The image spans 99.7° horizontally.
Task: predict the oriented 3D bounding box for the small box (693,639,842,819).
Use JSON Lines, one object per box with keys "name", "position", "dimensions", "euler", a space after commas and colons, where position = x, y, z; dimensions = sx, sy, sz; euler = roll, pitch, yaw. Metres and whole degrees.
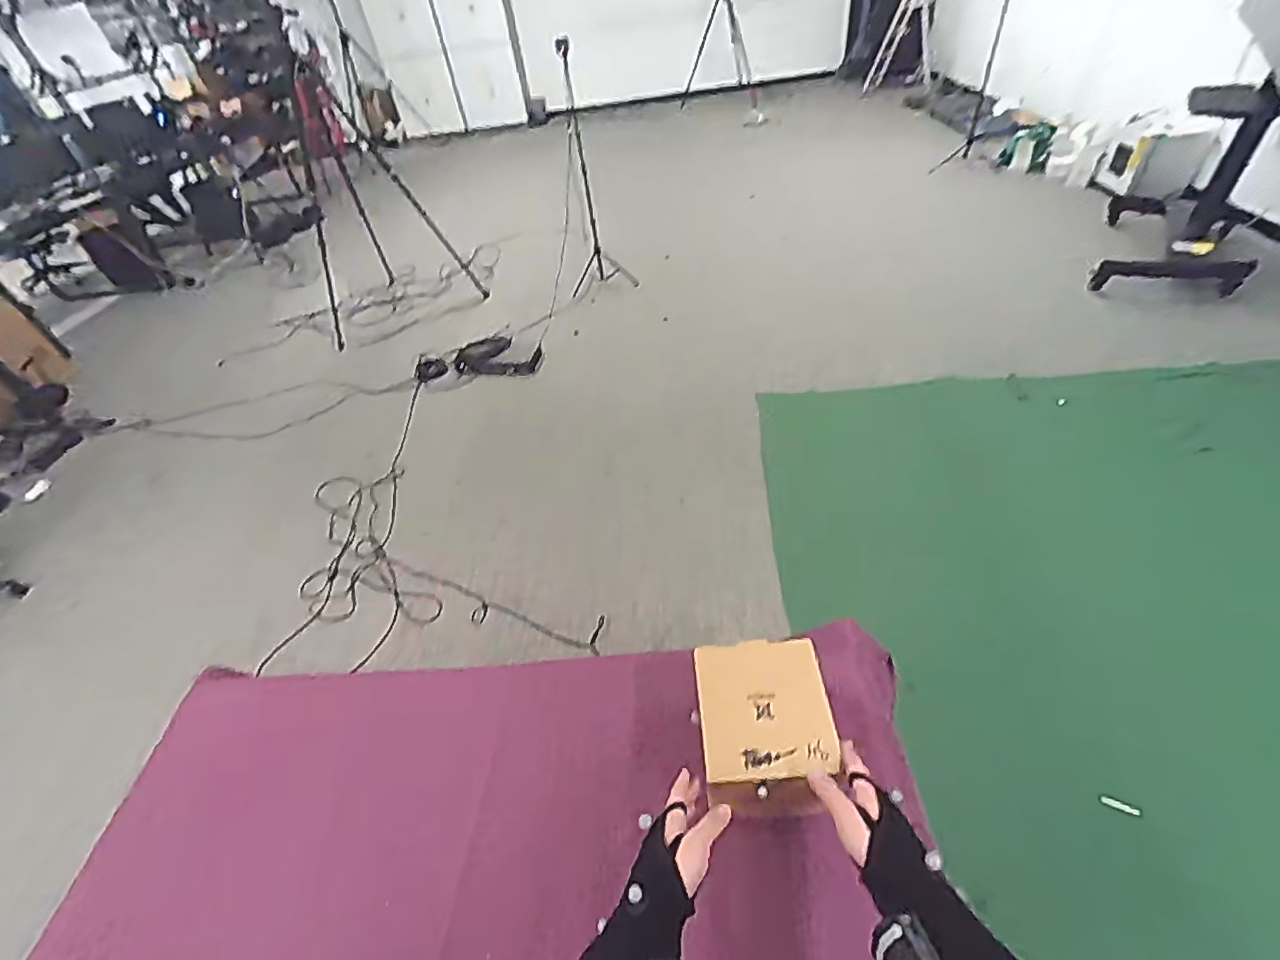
{"name": "small box", "position": [0.165, 0.345, 0.750], "dimensions": [0.168, 0.176, 0.179], "euler": [-6, 44, 5]}
